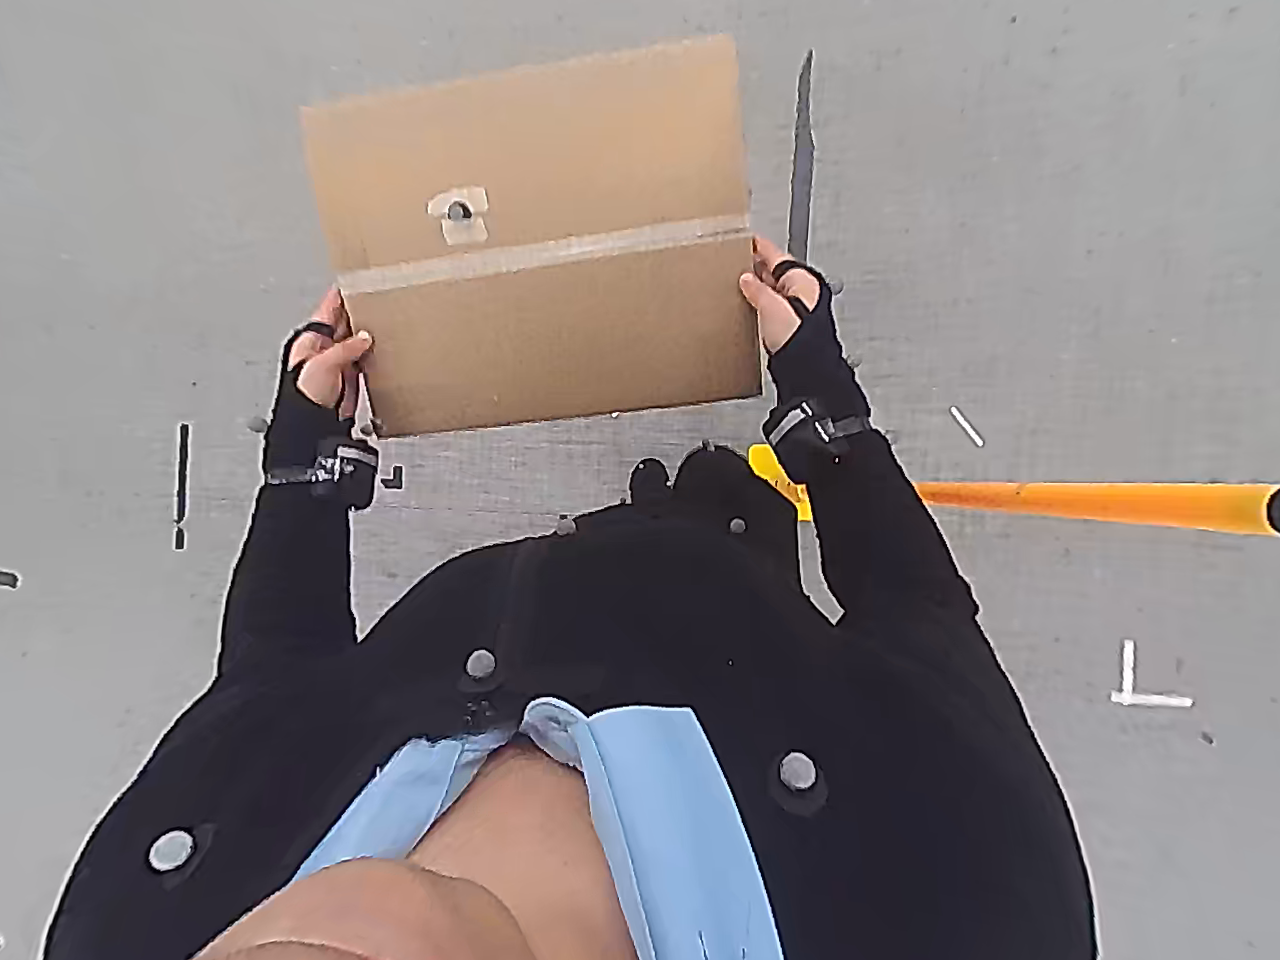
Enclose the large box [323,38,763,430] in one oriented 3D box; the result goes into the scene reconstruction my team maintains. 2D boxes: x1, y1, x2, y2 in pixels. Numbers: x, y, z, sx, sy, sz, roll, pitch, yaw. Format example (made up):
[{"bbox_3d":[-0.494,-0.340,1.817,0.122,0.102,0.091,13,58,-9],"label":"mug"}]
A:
[{"bbox_3d":[-0.078,-0.259,0.674,0.408,0.320,0.320,-6,103,5],"label":"large box"}]
